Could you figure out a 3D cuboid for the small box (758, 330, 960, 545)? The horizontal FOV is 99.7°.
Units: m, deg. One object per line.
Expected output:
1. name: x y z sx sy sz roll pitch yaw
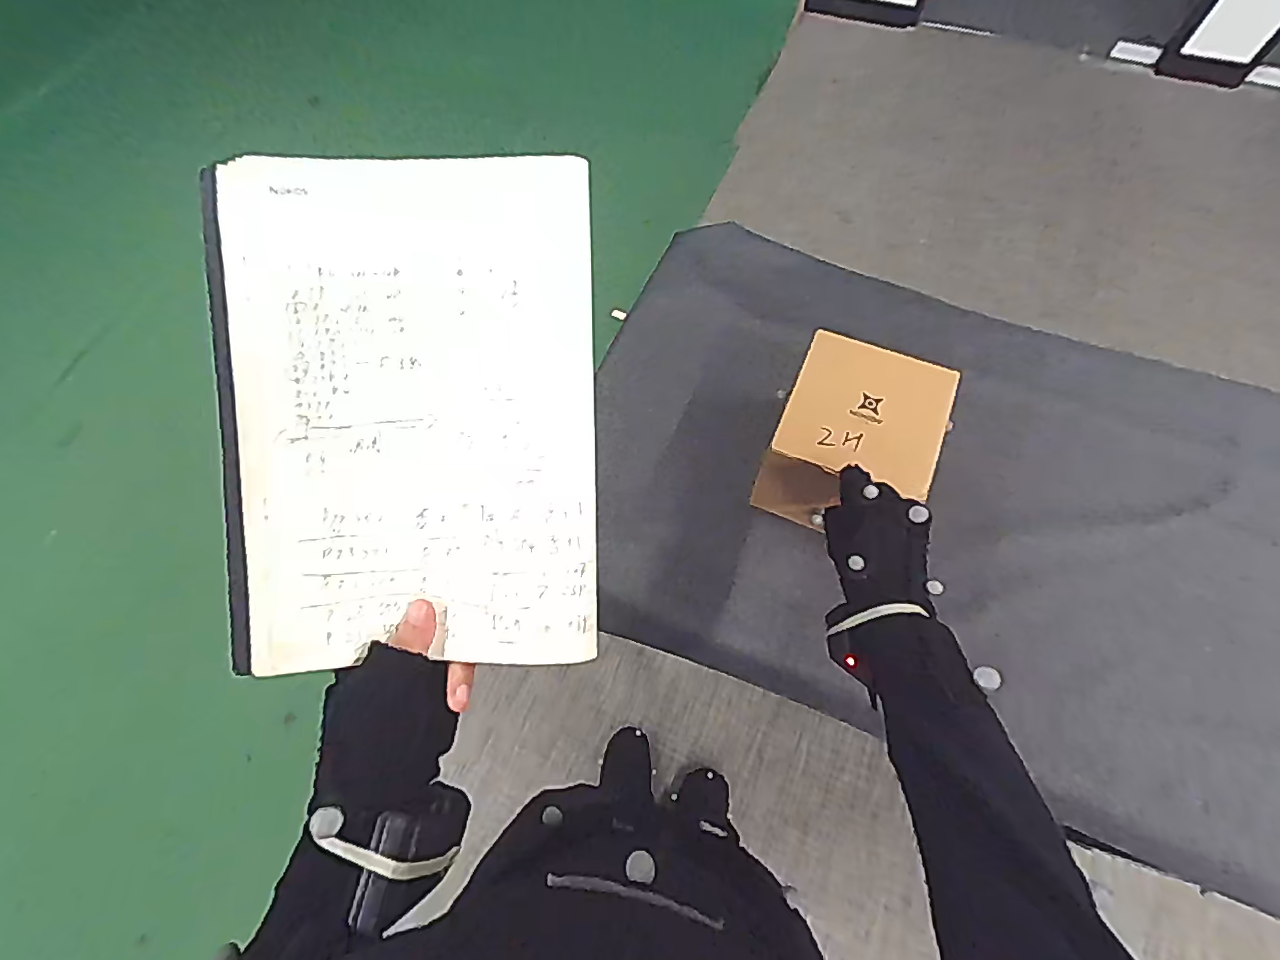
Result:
1. small box: 0.256 -0.045 0.668 0.168 0.176 0.179 21 69 13
